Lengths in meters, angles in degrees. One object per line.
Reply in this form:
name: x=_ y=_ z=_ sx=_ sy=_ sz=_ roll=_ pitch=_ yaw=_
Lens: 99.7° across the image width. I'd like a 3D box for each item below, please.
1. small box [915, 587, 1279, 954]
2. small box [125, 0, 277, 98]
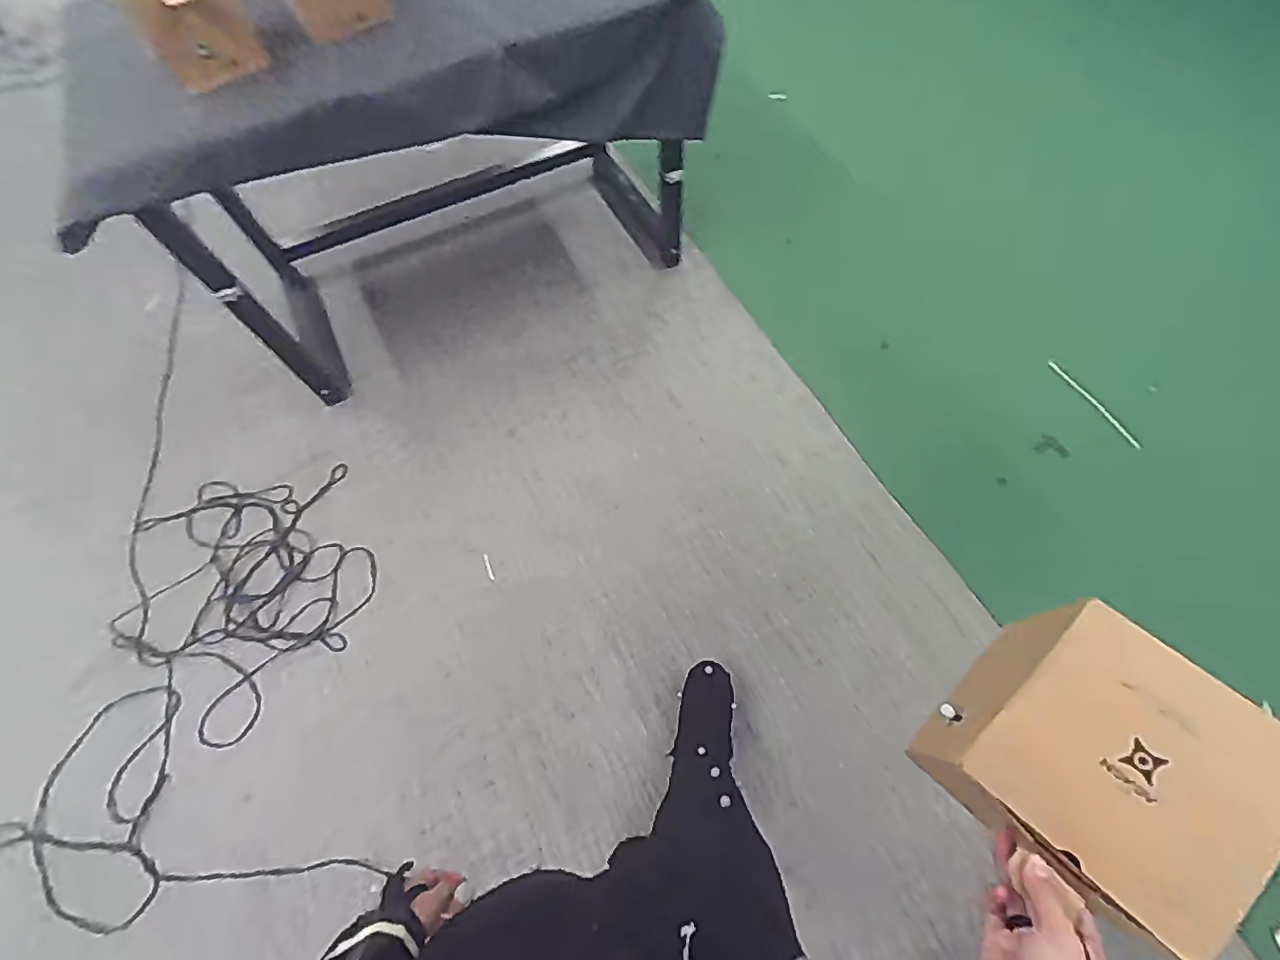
small box: x=0.363 y=0.223 z=0.456 sx=0.168 sy=0.176 sz=0.179 roll=40 pitch=79 yaw=23
small box: x=-0.815 y=-0.843 z=0.985 sx=0.168 sy=0.176 sz=0.179 roll=-36 pitch=68 yaw=-15
